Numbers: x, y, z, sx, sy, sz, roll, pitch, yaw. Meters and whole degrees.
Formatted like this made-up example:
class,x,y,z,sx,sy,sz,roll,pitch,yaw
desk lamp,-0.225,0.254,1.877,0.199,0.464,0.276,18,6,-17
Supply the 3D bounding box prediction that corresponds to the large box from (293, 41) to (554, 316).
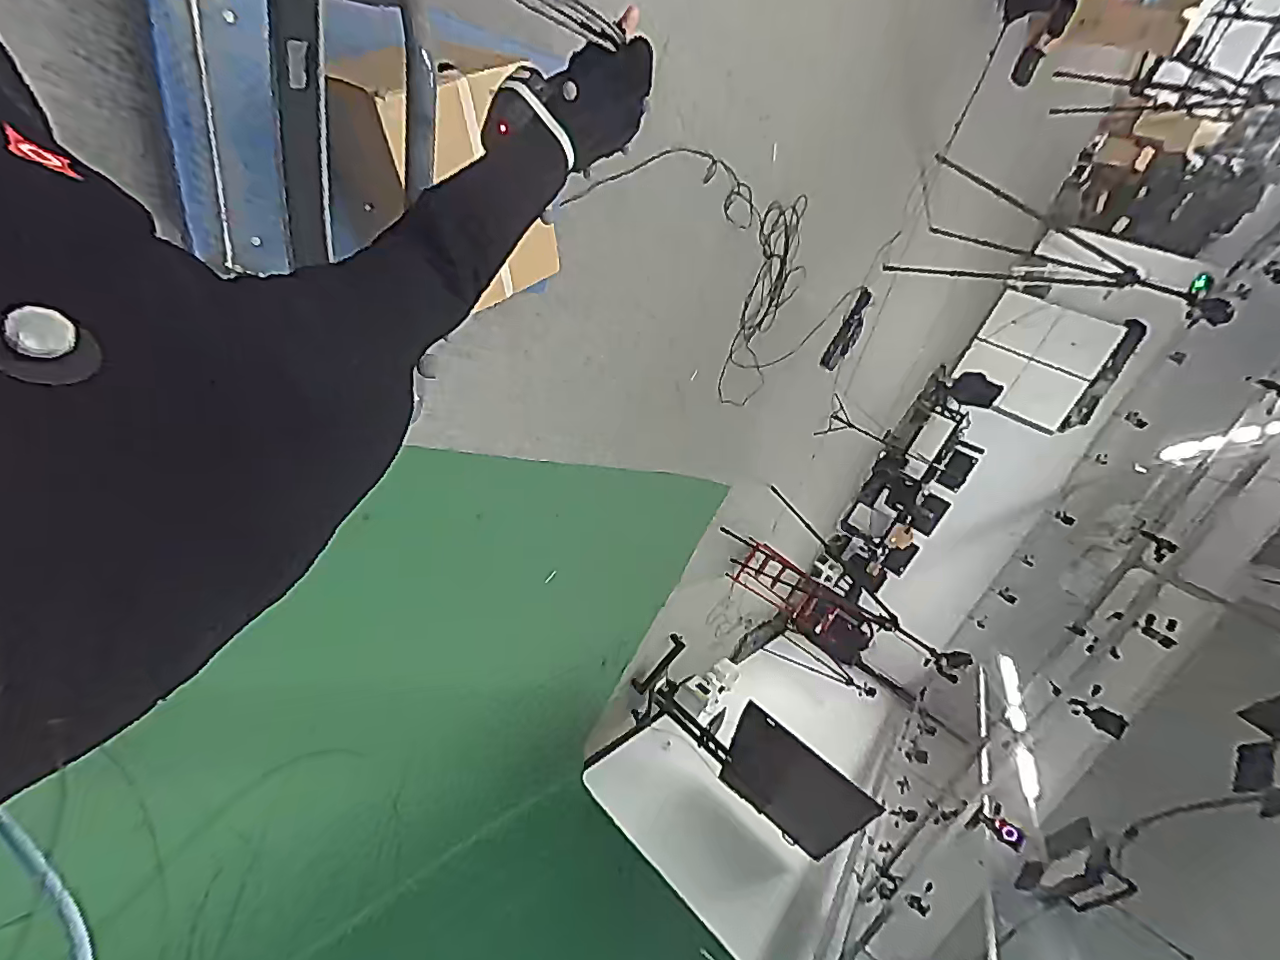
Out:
class,x,y,z,sx,sy,sz,roll,pitch,yaw
large box,-0.424,-0.630,1.134,0.320,0.320,0.408,-40,147,-28
